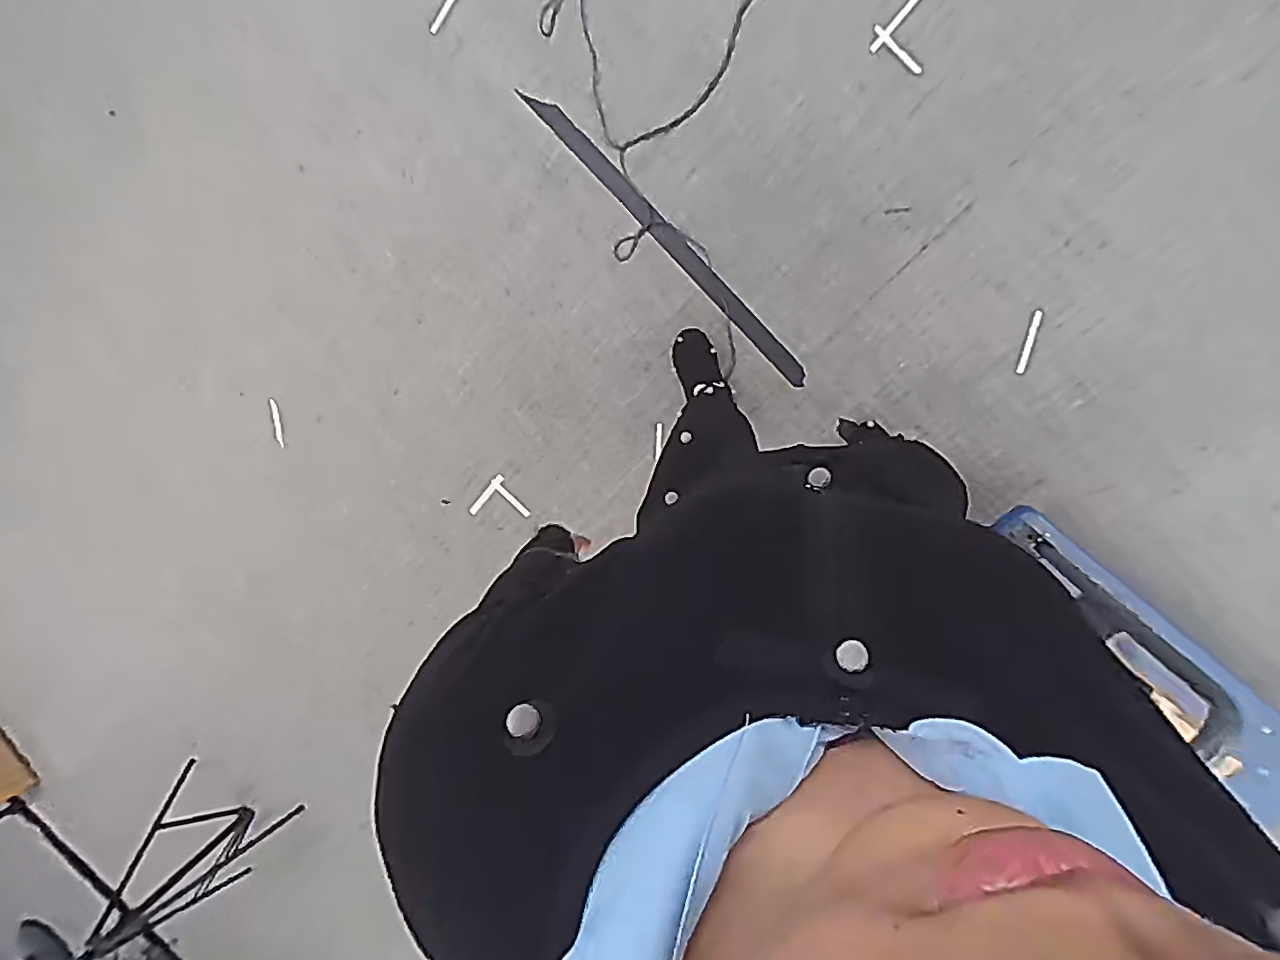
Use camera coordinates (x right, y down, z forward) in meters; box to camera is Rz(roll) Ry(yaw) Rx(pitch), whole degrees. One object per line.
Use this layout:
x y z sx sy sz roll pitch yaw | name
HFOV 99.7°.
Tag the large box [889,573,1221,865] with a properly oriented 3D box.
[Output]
0.806 0.478 1.134 0.320 0.320 0.408 37 112 4 | large box
